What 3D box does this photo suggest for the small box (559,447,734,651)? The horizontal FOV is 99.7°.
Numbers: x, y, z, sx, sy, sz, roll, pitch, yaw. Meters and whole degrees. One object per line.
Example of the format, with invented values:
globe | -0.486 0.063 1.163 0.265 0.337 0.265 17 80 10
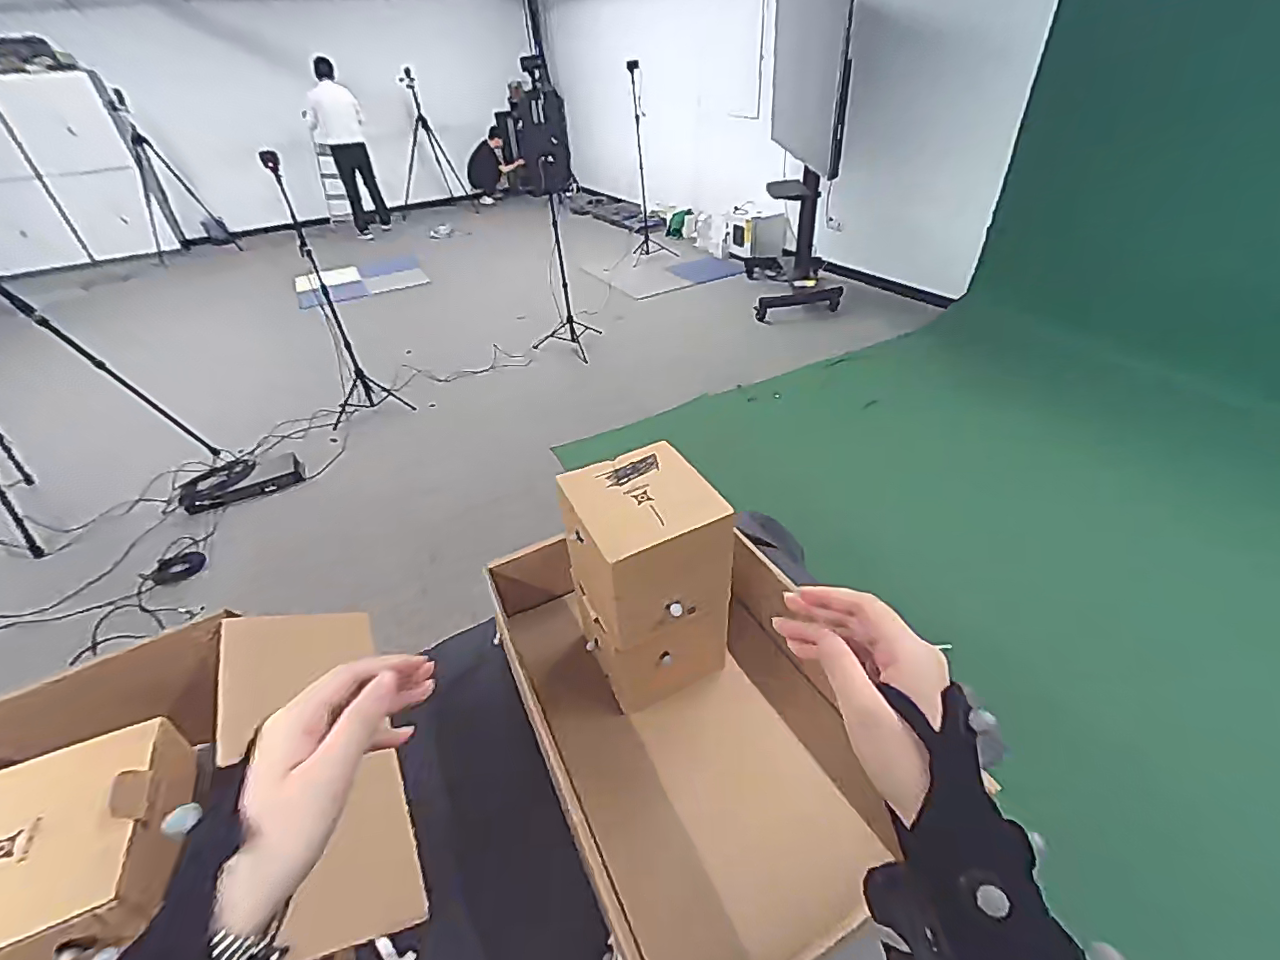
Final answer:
small box | 0.005 0.087 0.715 0.168 0.176 0.179 -20 41 -19
